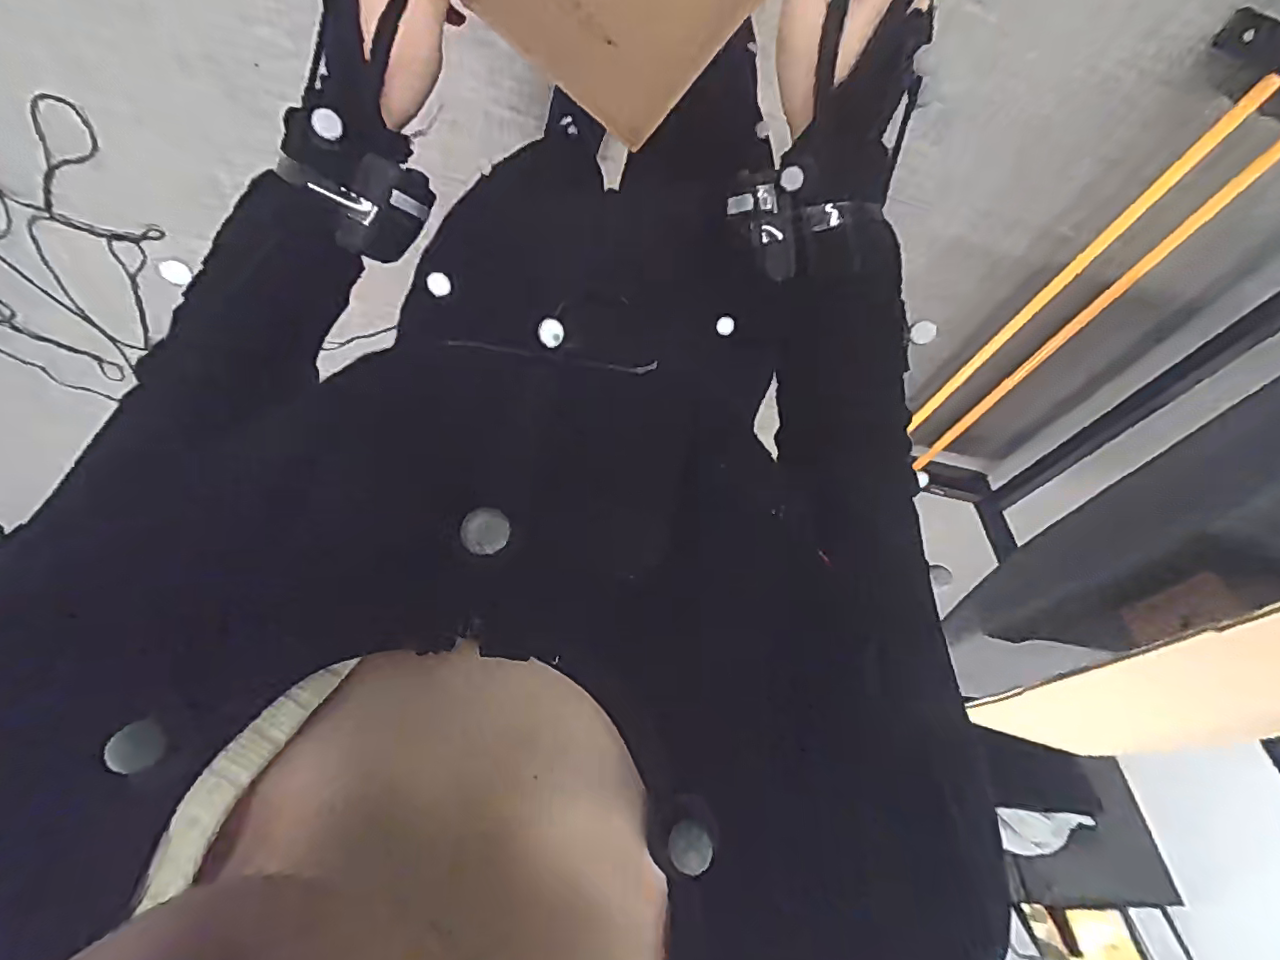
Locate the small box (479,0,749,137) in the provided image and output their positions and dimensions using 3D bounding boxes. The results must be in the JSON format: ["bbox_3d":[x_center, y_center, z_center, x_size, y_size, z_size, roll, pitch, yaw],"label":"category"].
[{"bbox_3d":[0.001,-0.361,0.306,0.168,0.176,0.179,28,151,-28],"label":"small box"}]
